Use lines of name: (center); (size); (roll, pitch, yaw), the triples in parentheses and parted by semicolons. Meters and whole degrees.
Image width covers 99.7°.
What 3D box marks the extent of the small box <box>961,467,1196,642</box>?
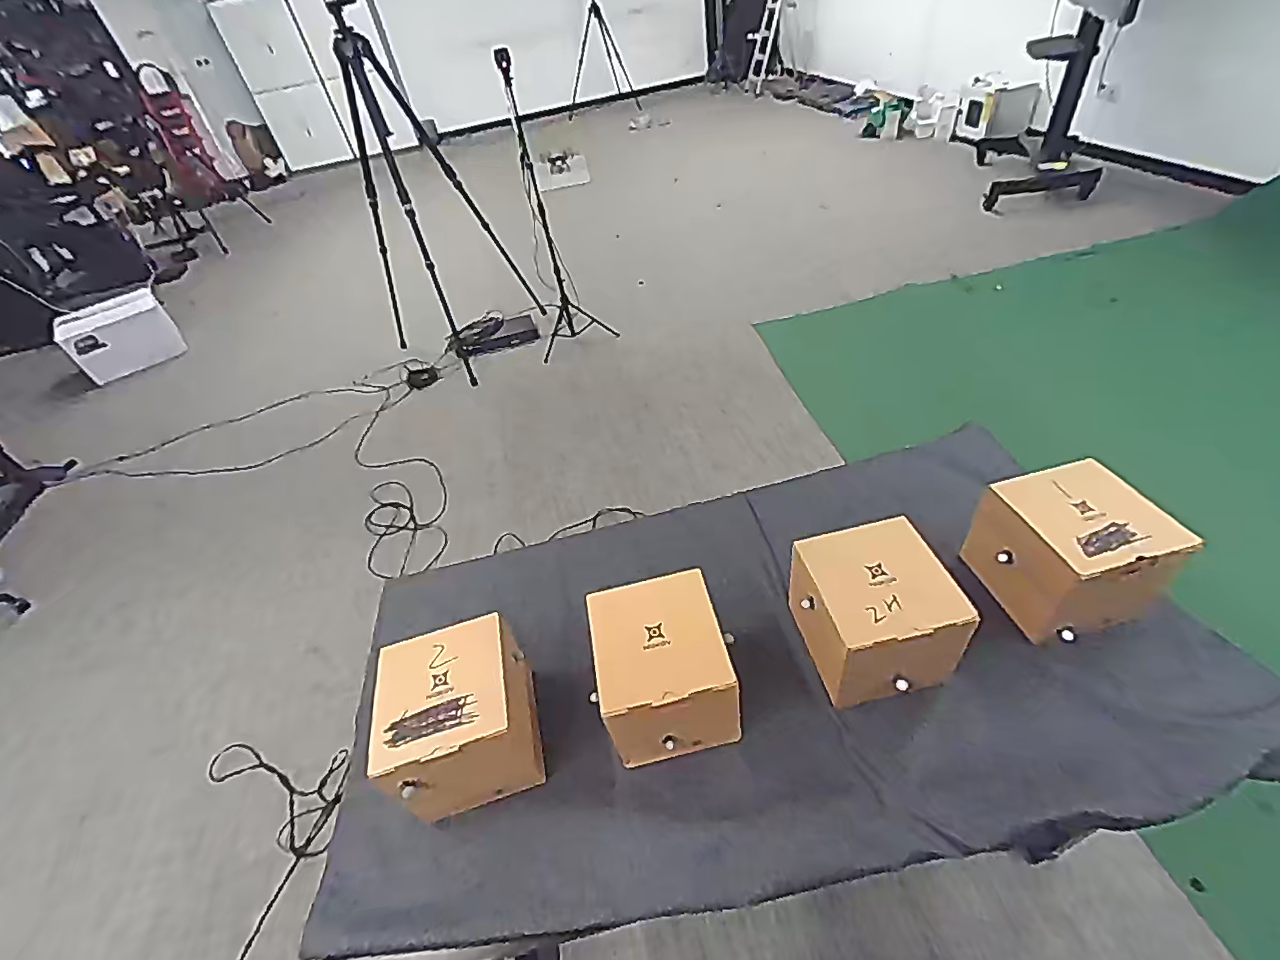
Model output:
small box: (0.609, 0.113, 0.783); (0.168, 0.176, 0.179); (-13, 42, -3)

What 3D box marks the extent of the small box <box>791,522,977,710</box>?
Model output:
small box: (0.321, 0.190, 0.758); (0.168, 0.176, 0.179); (-13, 43, -2)

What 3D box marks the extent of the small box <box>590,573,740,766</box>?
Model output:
small box: (0.031, 0.259, 0.744); (0.168, 0.176, 0.179); (-12, 44, -3)
